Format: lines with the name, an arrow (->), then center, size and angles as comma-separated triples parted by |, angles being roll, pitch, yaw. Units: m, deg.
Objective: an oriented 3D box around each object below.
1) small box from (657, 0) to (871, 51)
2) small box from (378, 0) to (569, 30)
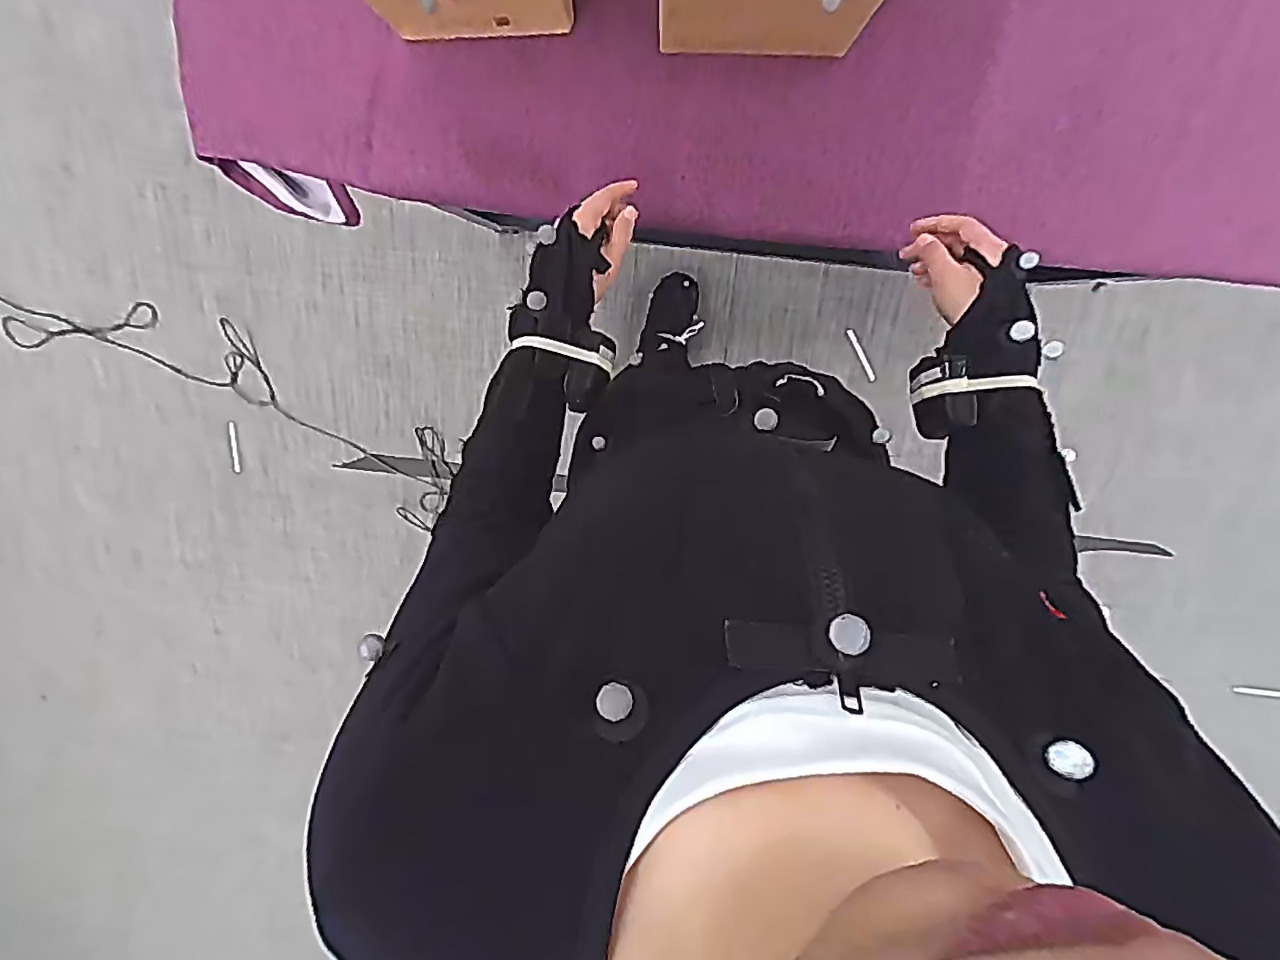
small box -> 0.104, -0.457, 0.407 | 0.179, 0.176, 0.168 | 2, 107, 2
small box -> -0.151, -0.482, 0.414 | 0.168, 0.176, 0.179 | -1, 108, 3
